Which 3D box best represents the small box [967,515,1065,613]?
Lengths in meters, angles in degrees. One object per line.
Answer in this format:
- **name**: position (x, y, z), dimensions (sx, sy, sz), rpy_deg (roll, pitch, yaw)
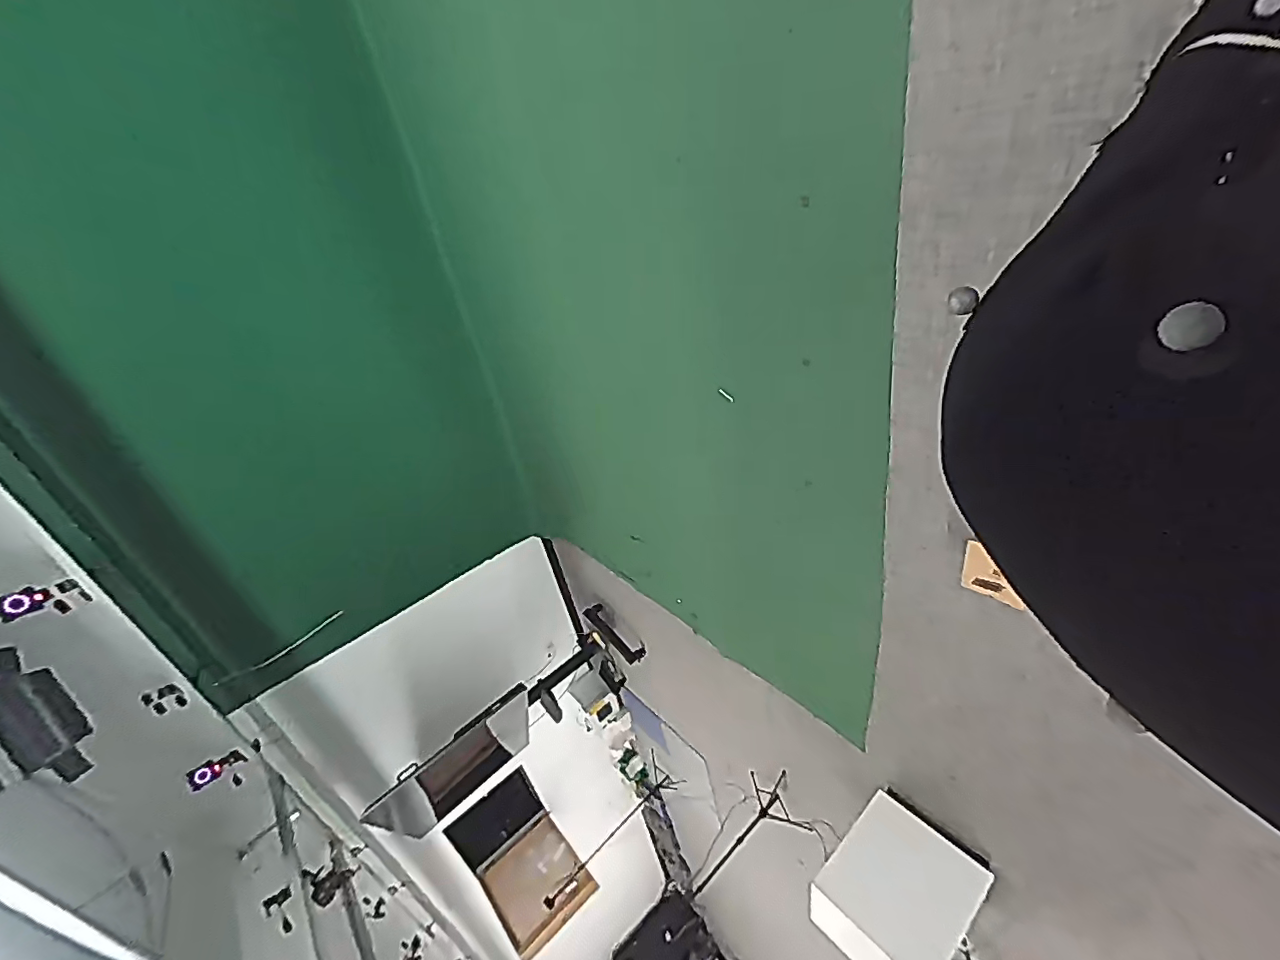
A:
- **small box**: position (1.042, 0.227, 1.501), dimensions (0.168, 0.176, 0.179), rpy_deg (25, 136, 46)
